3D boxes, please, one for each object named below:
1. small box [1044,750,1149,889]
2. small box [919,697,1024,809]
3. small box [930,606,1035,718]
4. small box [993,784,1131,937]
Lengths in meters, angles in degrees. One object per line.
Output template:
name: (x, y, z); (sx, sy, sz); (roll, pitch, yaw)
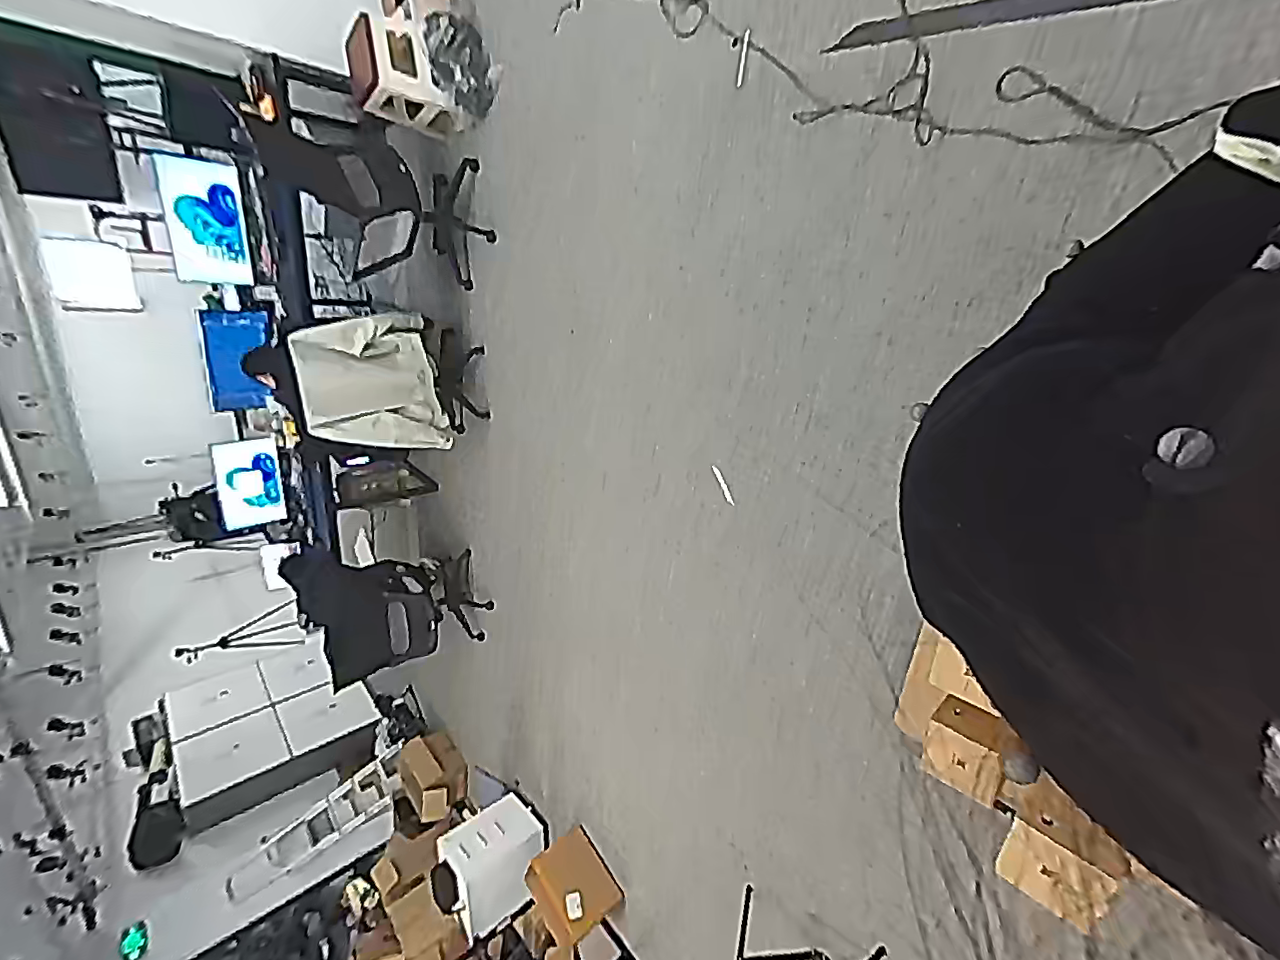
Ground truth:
small box: (1.027, 0.761, 1.236); (0.179, 0.176, 0.168); (19, 114, 42)
small box: (0.861, 0.693, 1.404); (0.179, 0.176, 0.168); (19, 115, 43)
small box: (0.851, 0.440, 1.340); (0.168, 0.176, 0.179); (20, 115, 43)
small box: (0.890, 0.784, 1.142); (0.179, 0.176, 0.168); (24, 119, 42)
